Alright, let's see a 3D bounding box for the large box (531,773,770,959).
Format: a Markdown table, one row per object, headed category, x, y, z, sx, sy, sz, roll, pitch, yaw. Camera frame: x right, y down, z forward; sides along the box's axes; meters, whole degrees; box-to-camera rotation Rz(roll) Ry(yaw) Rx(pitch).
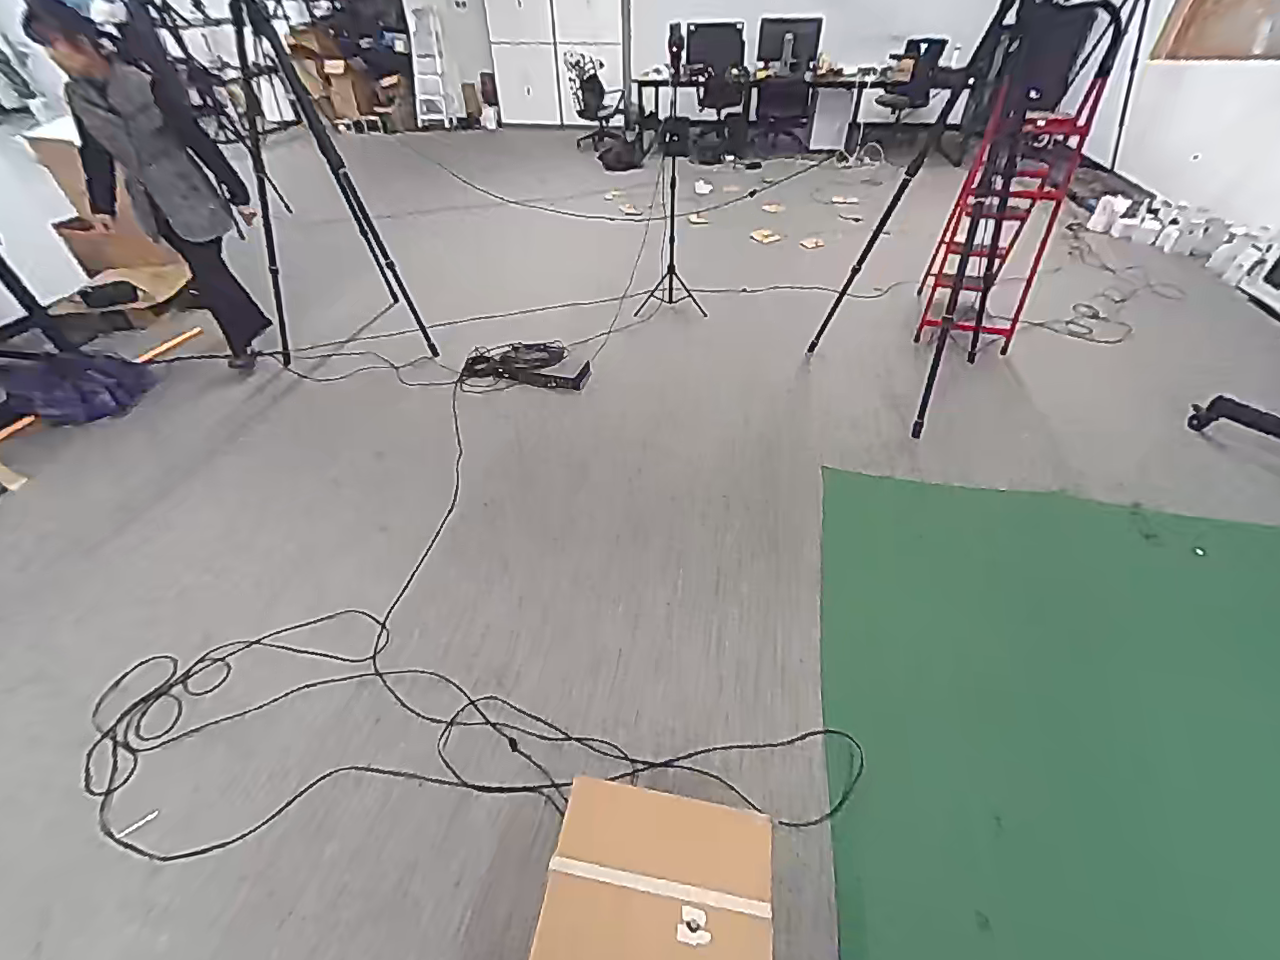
| category | x | y | z | sx | sy | sz | roll | pitch | yaw |
| --- | --- | --- | --- | --- | --- | --- | --- | --- | --- |
| large box | 0.031 | 0.838 | 1.085 | 0.408 | 0.320 | 0.320 | 8 | 44 | 7 |
